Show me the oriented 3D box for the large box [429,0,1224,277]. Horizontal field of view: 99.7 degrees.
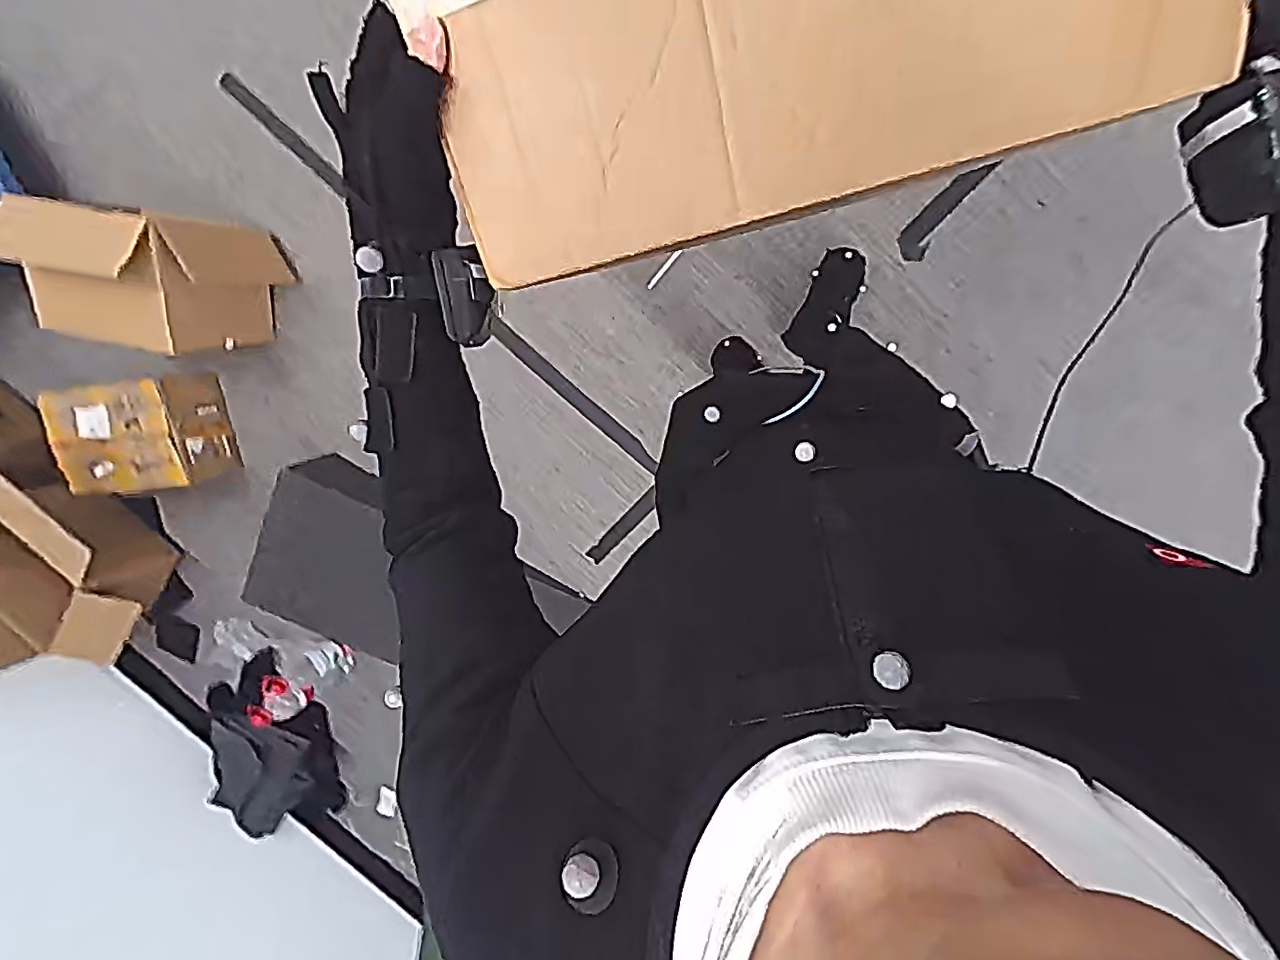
[{"bbox_3d":[0.087,-0.367,0.405,0.408,0.320,0.320,-10,112,14],"label":"large box"}]
